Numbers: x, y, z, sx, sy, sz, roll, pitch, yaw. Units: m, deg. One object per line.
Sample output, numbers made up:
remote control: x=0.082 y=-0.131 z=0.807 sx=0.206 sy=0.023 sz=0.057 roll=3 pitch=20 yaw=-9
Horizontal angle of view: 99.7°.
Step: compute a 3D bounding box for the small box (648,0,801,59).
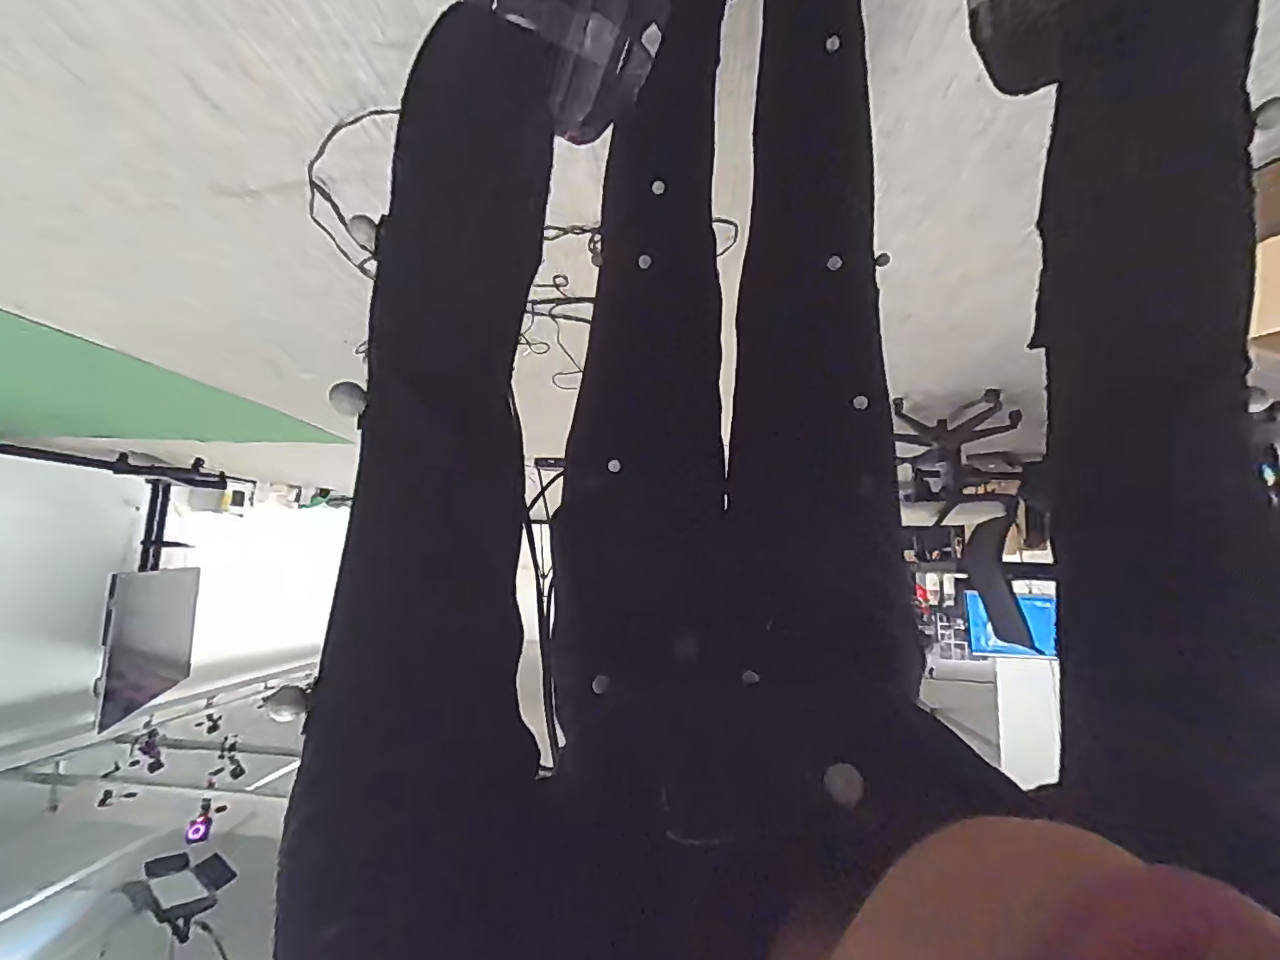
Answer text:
small box: x=0.089 y=-0.607 z=0.577 sx=0.168 sy=0.176 sz=0.179 roll=-7 pitch=173 yaw=0
